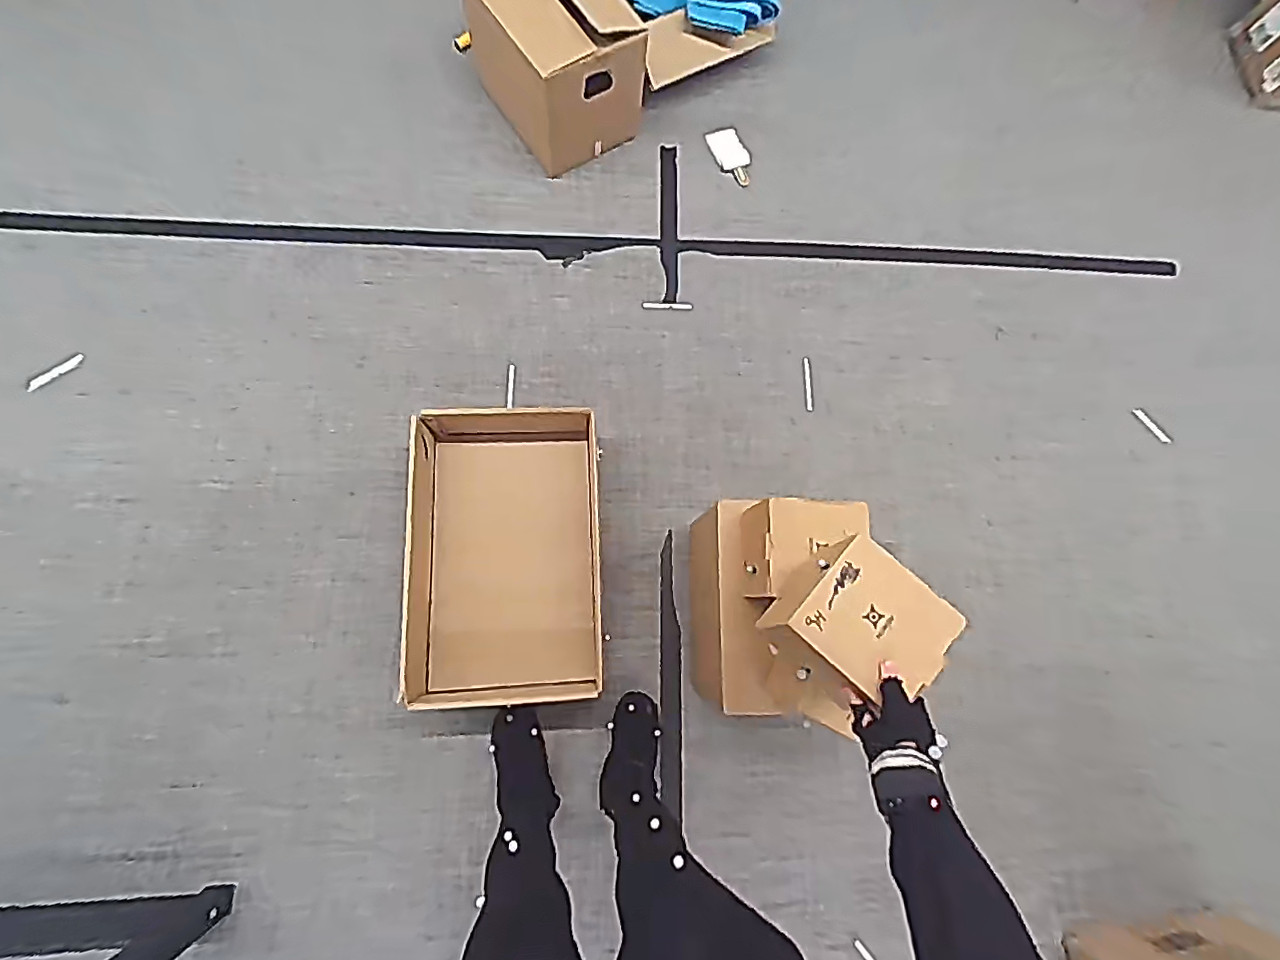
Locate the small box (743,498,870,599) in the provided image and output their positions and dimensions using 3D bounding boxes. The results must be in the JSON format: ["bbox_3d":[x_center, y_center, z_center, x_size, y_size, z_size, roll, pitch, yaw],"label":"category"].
[{"bbox_3d":[0.288,0.131,0.966,0.179,0.176,0.168,4,79,-4],"label":"small box"}]

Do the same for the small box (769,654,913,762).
[{"bbox_3d":[0.342,0.335,0.921,0.168,0.176,0.179,29,76,2],"label":"small box"}]

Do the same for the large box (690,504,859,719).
[{"bbox_3d":[0.294,0.273,1.184,0.320,0.320,0.408,0,78,-4],"label":"large box"}]

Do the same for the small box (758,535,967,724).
[{"bbox_3d":[0.296,0.204,0.757,0.179,0.176,0.168,43,75,10],"label":"small box"}]
